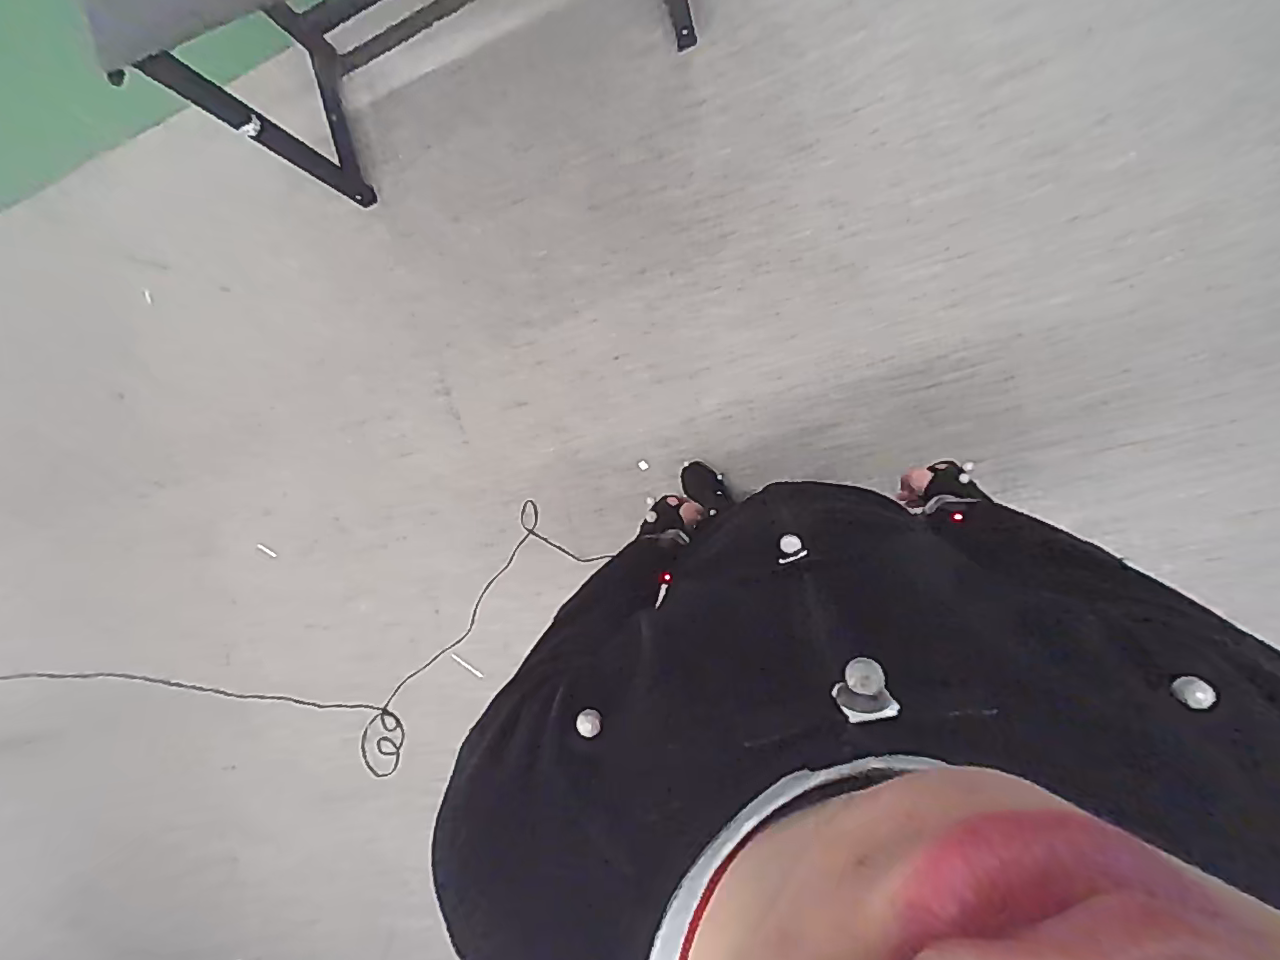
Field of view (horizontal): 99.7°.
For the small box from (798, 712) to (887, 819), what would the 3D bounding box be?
[{"bbox_3d":[0.528,0.748,1.430,0.168,0.176,0.179,-21,86,13],"label":"small box"}]
